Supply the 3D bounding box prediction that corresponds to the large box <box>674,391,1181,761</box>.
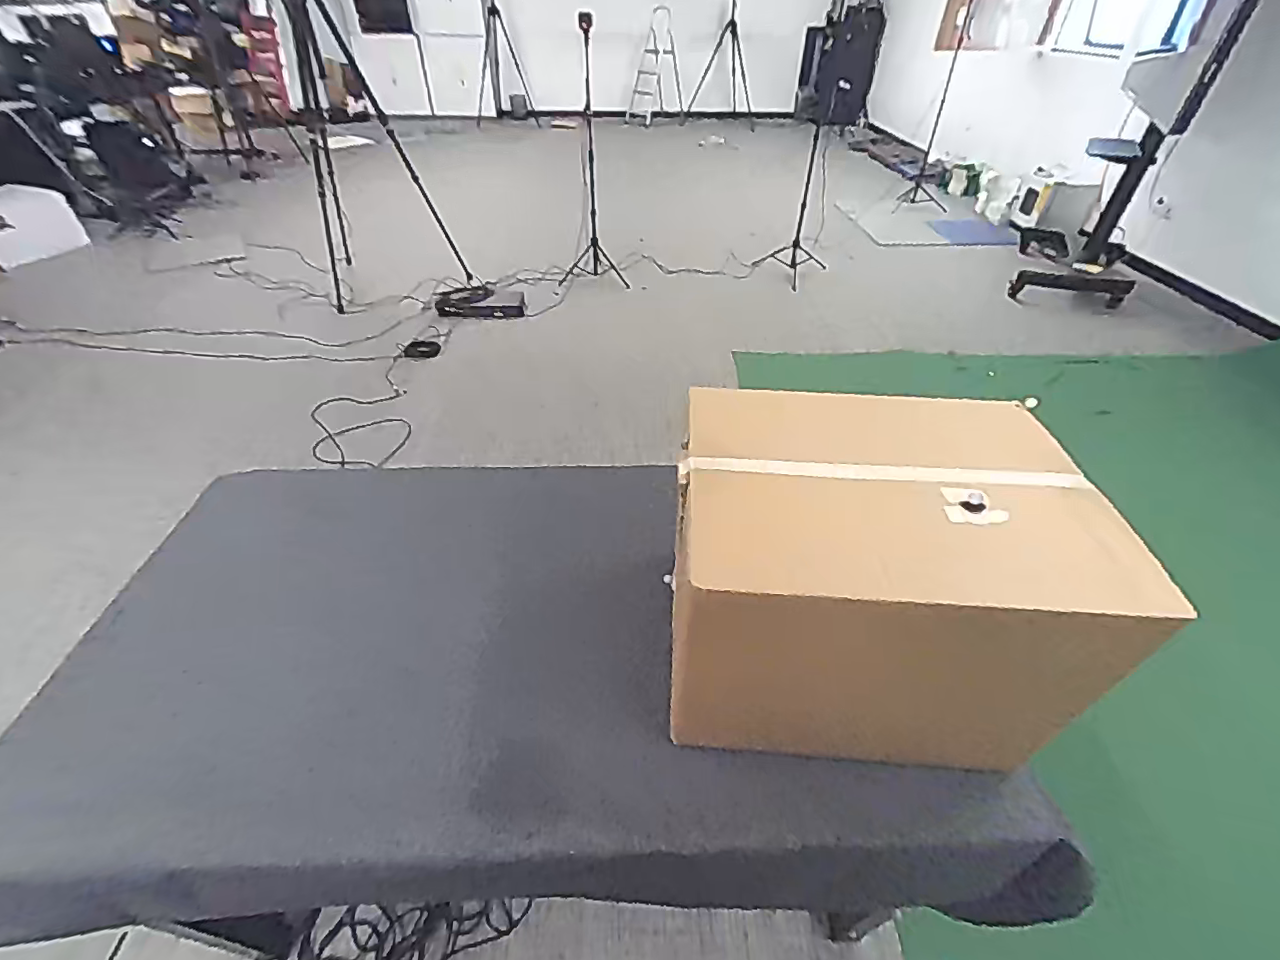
[{"bbox_3d":[0.250,0.111,0.654,0.408,0.320,0.320,4,42,2],"label":"large box"}]
